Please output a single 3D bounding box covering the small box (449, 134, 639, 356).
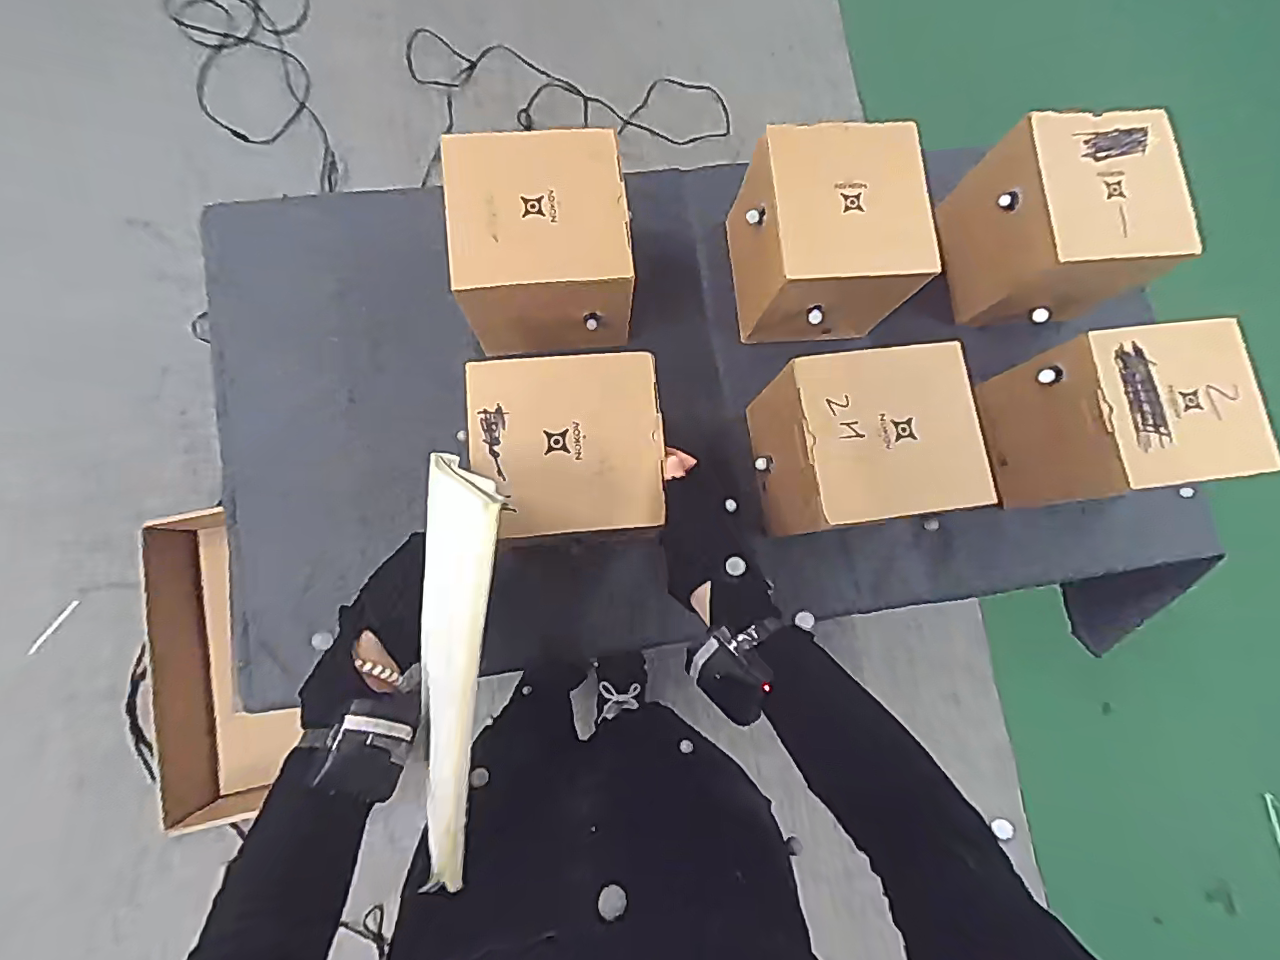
[{"bbox_3d":[-0.103,-0.250,0.607,0.179,0.176,0.168,-6,81,-6],"label":"small box"}]

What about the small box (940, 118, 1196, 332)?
[{"bbox_3d":[0.499,-0.300,0.661,0.168,0.176,0.179,-5,81,-5],"label":"small box"}]

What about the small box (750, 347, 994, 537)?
[{"bbox_3d":[0.237,-0.031,0.596,0.179,0.176,0.168,-6,80,-5],"label":"small box"}]

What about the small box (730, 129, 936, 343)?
[{"bbox_3d":[0.211,-0.272,0.637,0.168,0.176,0.179,-4,80,-5],"label":"small box"}]
